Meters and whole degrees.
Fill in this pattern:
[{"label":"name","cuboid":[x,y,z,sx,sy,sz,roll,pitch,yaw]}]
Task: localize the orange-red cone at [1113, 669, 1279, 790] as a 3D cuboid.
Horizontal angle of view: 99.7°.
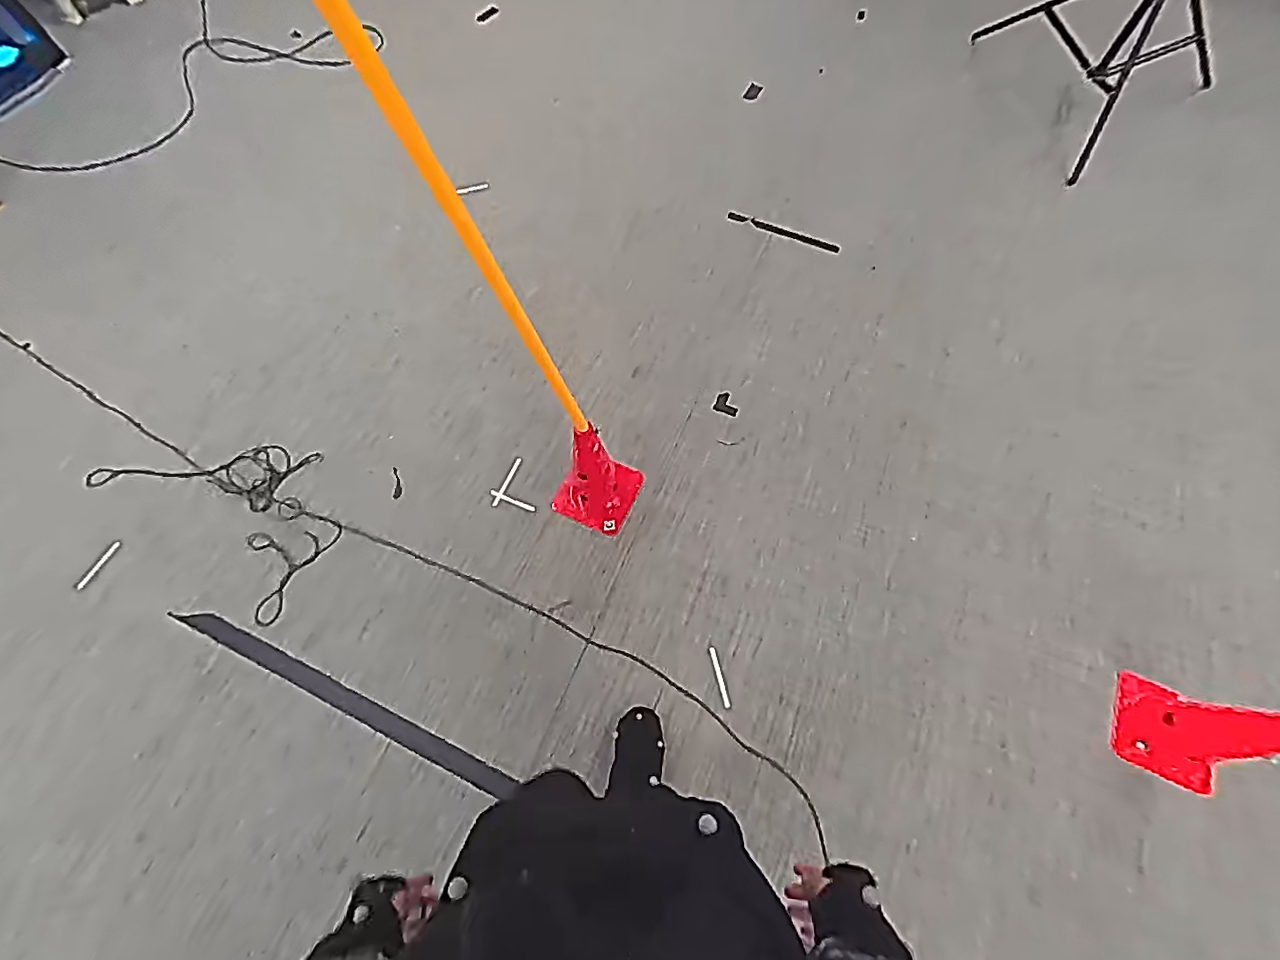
[{"label":"orange-red cone","cuboid":[1.162,0.478,1.039,0.199,0.360,0.198,25,69,11]}]
